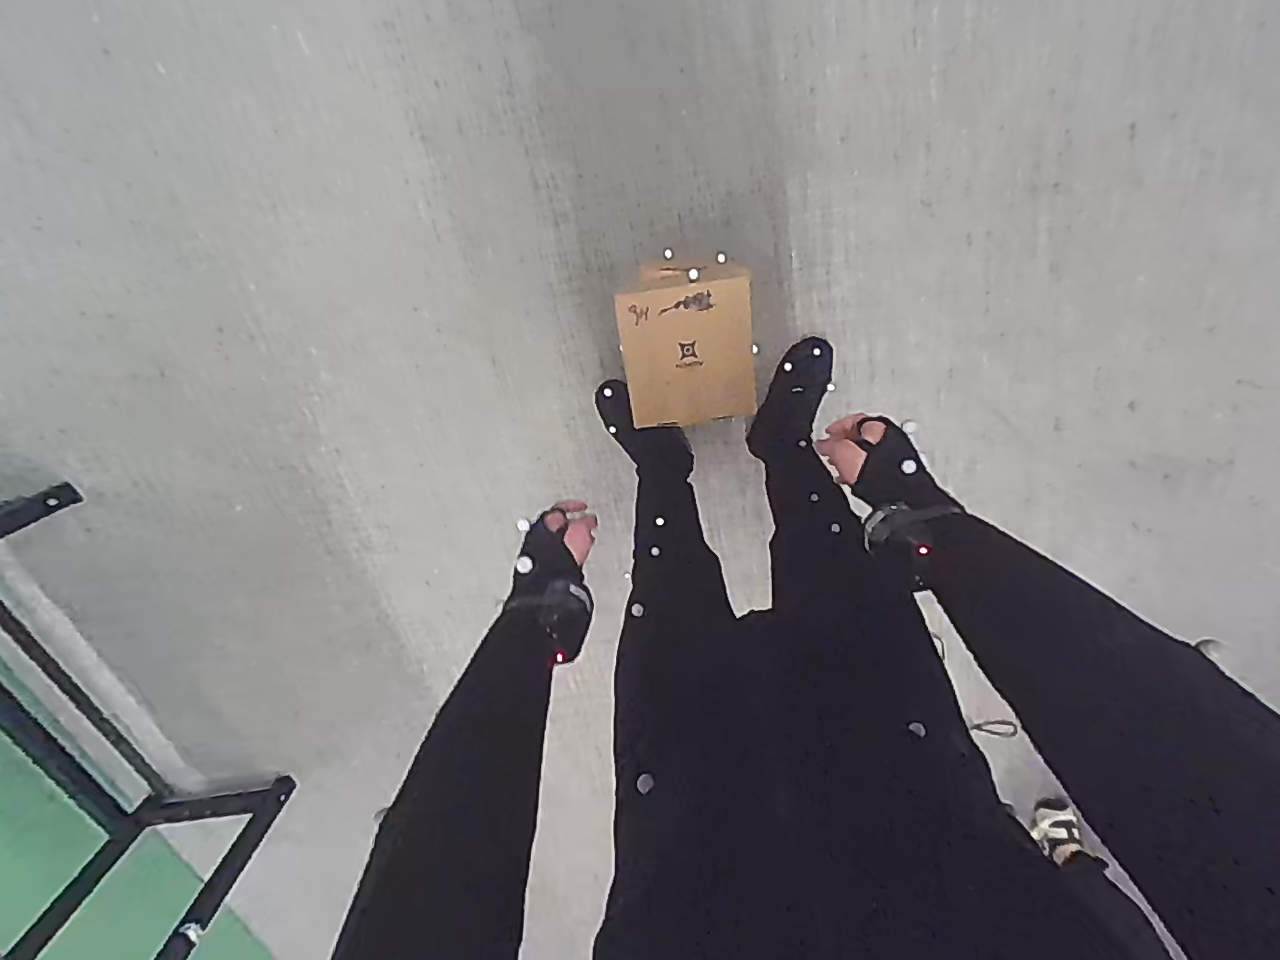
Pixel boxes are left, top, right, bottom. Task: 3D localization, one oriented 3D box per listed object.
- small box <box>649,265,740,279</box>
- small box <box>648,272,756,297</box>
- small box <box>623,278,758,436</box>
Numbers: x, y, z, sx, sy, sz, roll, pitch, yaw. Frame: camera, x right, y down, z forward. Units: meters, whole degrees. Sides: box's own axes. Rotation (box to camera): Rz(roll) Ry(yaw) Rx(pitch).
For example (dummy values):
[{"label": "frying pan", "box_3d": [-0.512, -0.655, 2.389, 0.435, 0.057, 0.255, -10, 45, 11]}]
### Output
[{"label": "small box", "box_3d": [0.098, -0.322, 1.058, 0.168, 0.176, 0.179, 2, 116, 3]}, {"label": "small box", "box_3d": [0.092, -0.251, 0.909, 0.168, 0.176, 0.179, 3, 116, 2]}, {"label": "small box", "box_3d": [0.074, -0.178, 0.765, 0.168, 0.176, 0.179, -5, 115, 6]}]
